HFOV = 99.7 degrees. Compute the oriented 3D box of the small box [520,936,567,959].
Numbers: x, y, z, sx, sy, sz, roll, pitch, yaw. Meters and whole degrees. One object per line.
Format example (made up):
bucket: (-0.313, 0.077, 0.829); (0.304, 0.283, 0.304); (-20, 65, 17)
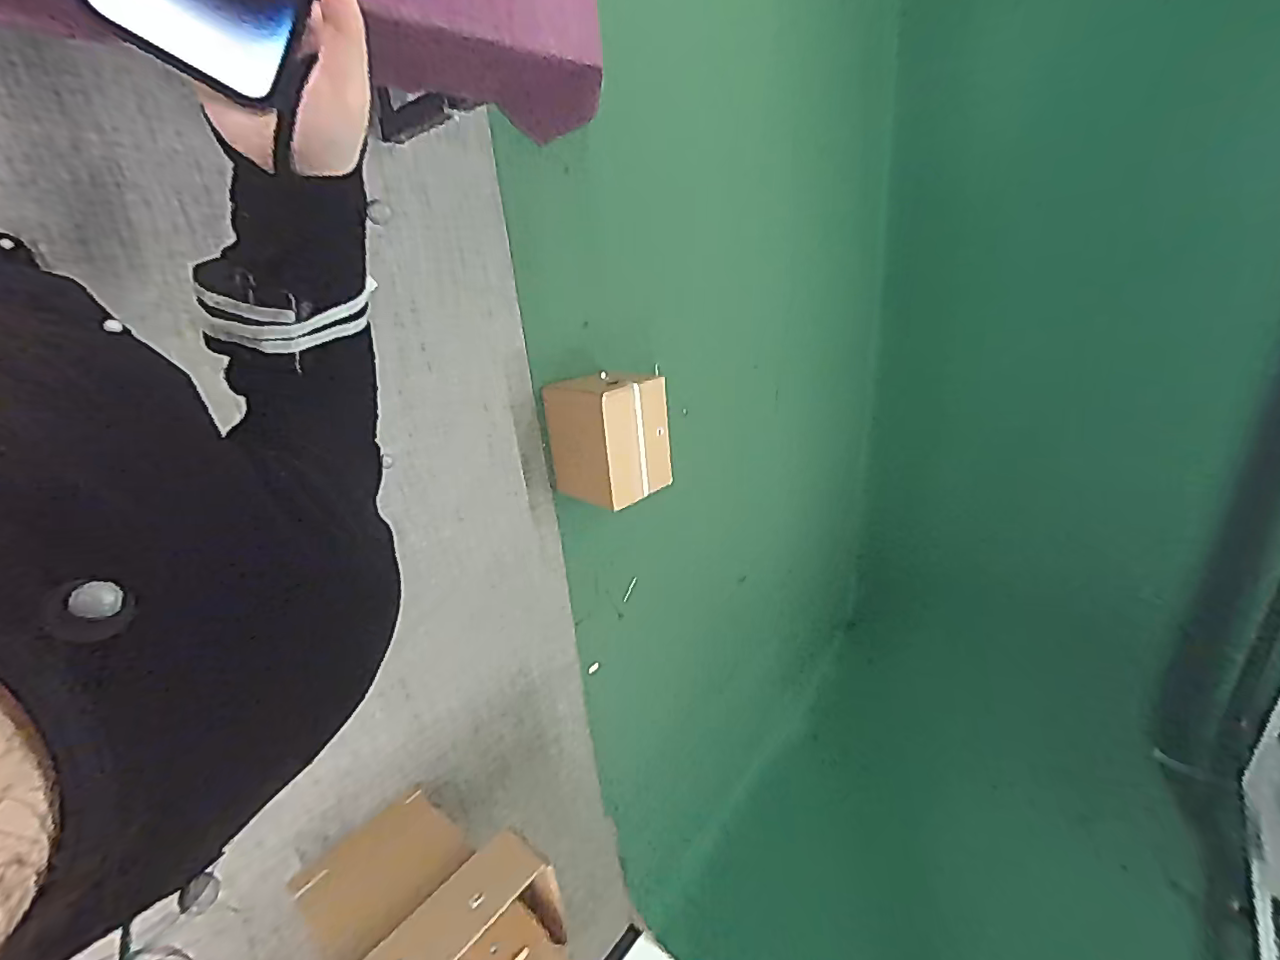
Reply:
small box: (-0.242, 1.334, 1.380); (0.168, 0.176, 0.179); (-27, 121, -41)
